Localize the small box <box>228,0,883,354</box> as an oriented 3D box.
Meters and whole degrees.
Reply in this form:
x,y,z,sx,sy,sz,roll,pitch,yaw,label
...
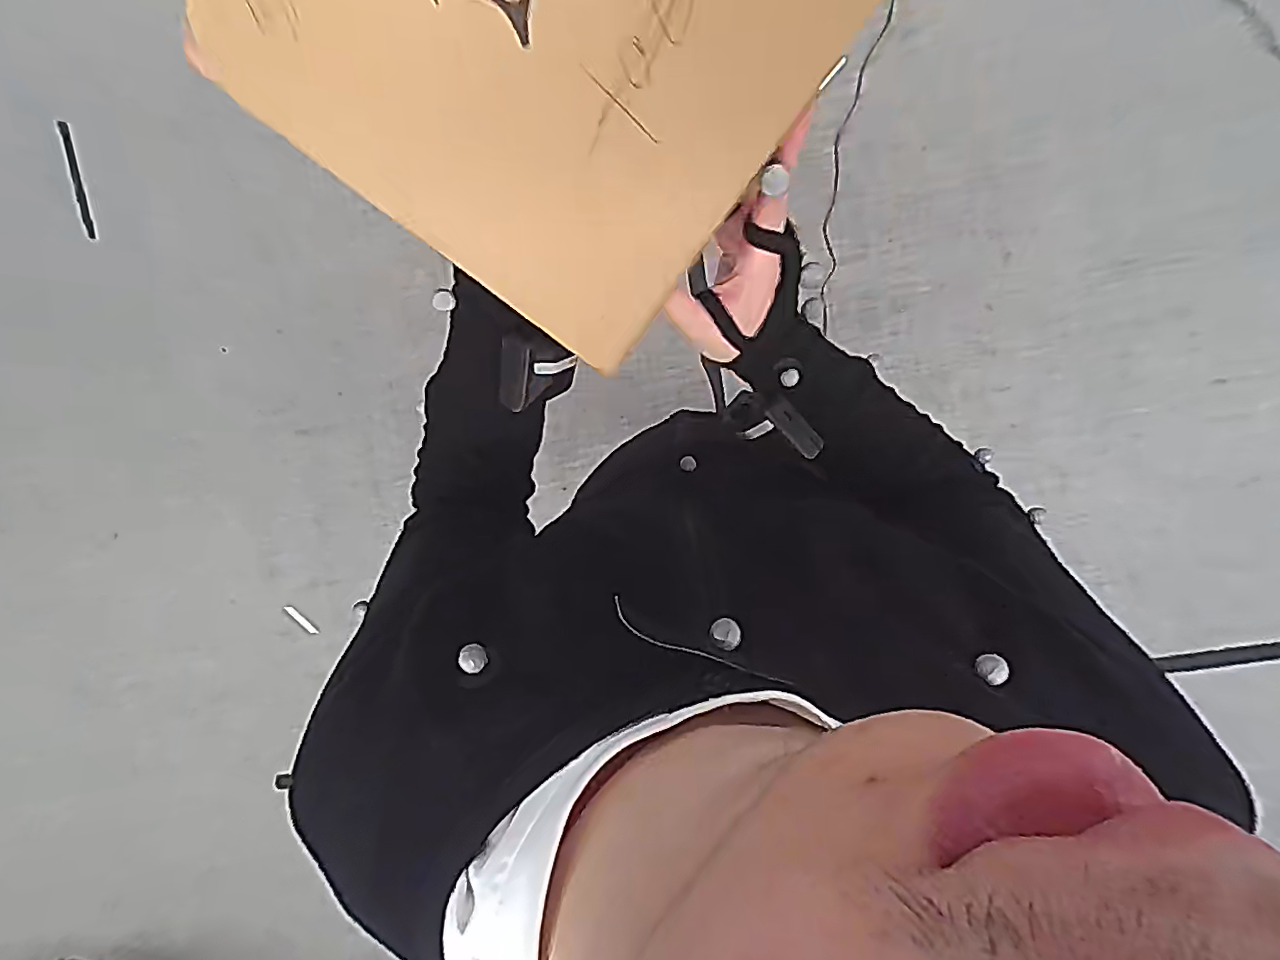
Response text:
x,y,z,sx,sy,sz,roll,pitch,yaw,label
-0.012,-0.190,0.215,0.179,0.176,0.168,34,130,-9,small box
